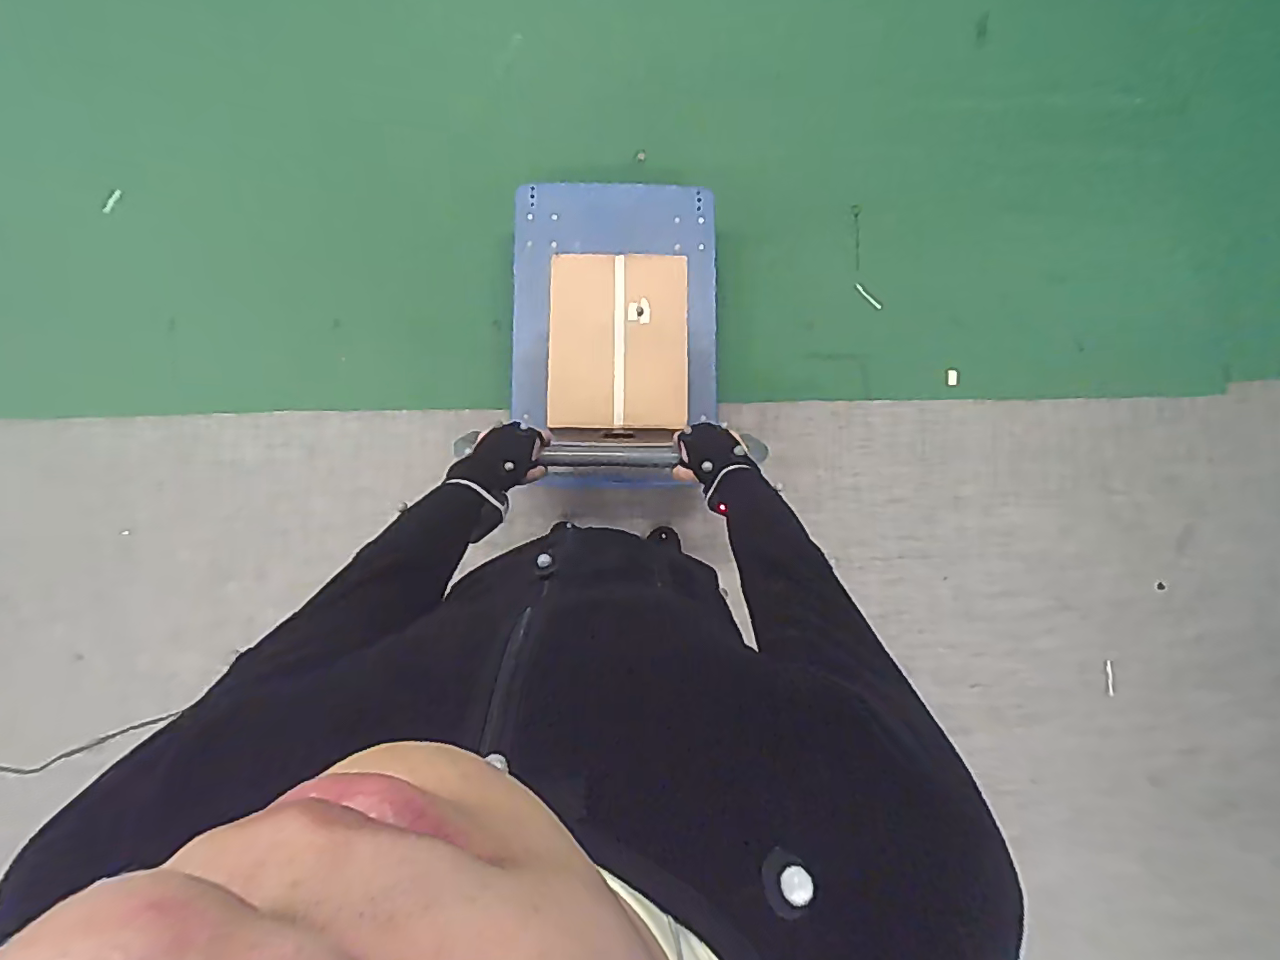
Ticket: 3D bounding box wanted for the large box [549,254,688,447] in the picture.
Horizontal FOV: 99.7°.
[{"bbox_3d":[-0.050,-0.304,1.371,0.320,0.320,0.408,1,85,-2],"label":"large box"}]
